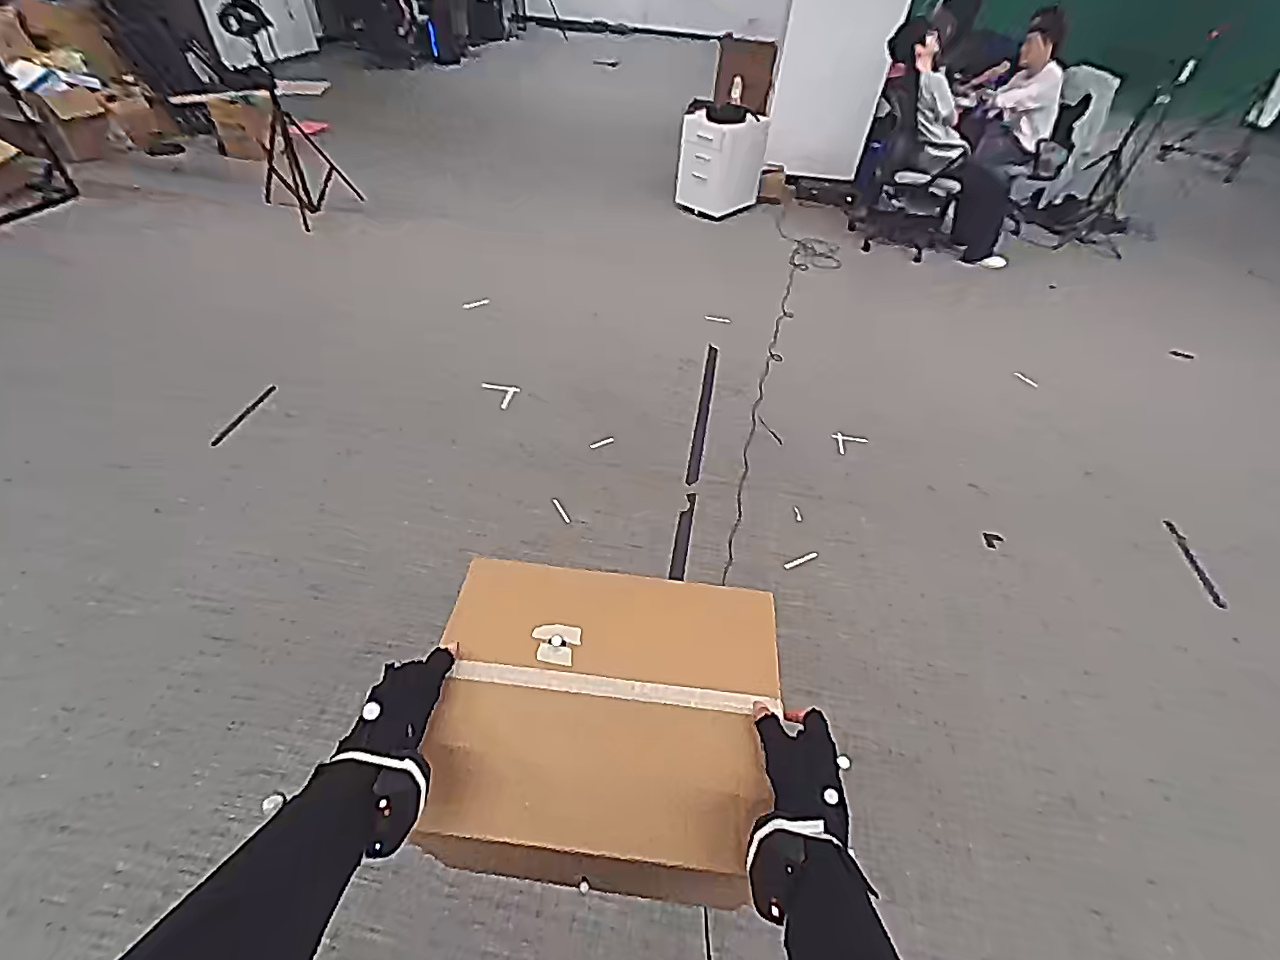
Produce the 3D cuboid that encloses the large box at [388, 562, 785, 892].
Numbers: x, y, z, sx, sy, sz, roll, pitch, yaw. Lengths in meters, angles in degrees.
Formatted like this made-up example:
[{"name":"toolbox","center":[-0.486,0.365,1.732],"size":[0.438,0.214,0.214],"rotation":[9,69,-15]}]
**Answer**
[{"name":"large box","center":[-0.045,0.341,0.740],"size":[0.408,0.320,0.320],"rotation":[6,47,2]}]
